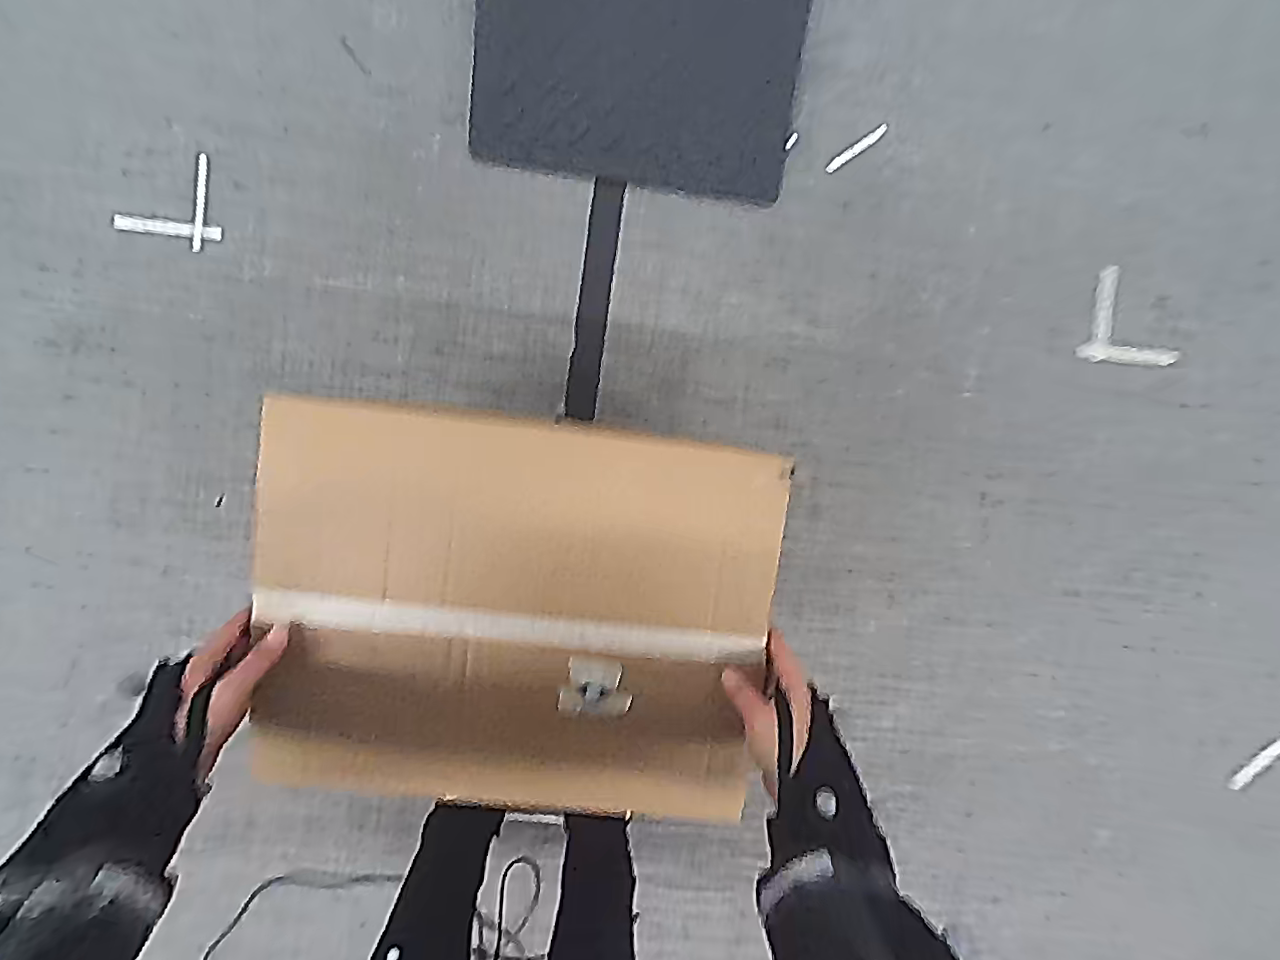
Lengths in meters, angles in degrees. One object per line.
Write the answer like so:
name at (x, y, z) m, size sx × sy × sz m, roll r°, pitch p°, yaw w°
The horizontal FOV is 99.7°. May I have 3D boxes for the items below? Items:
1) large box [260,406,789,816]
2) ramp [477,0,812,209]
large box at (-0.102, 0.100, 0.580) m, size 0.408 × 0.320 × 0.320 m, roll 7°, pitch 97°, yaw -4°
ramp at (0.048, -0.950, 0.763) m, size 0.509 × 0.206 × 0.991 m, roll 5°, pitch 93°, yaw -5°
